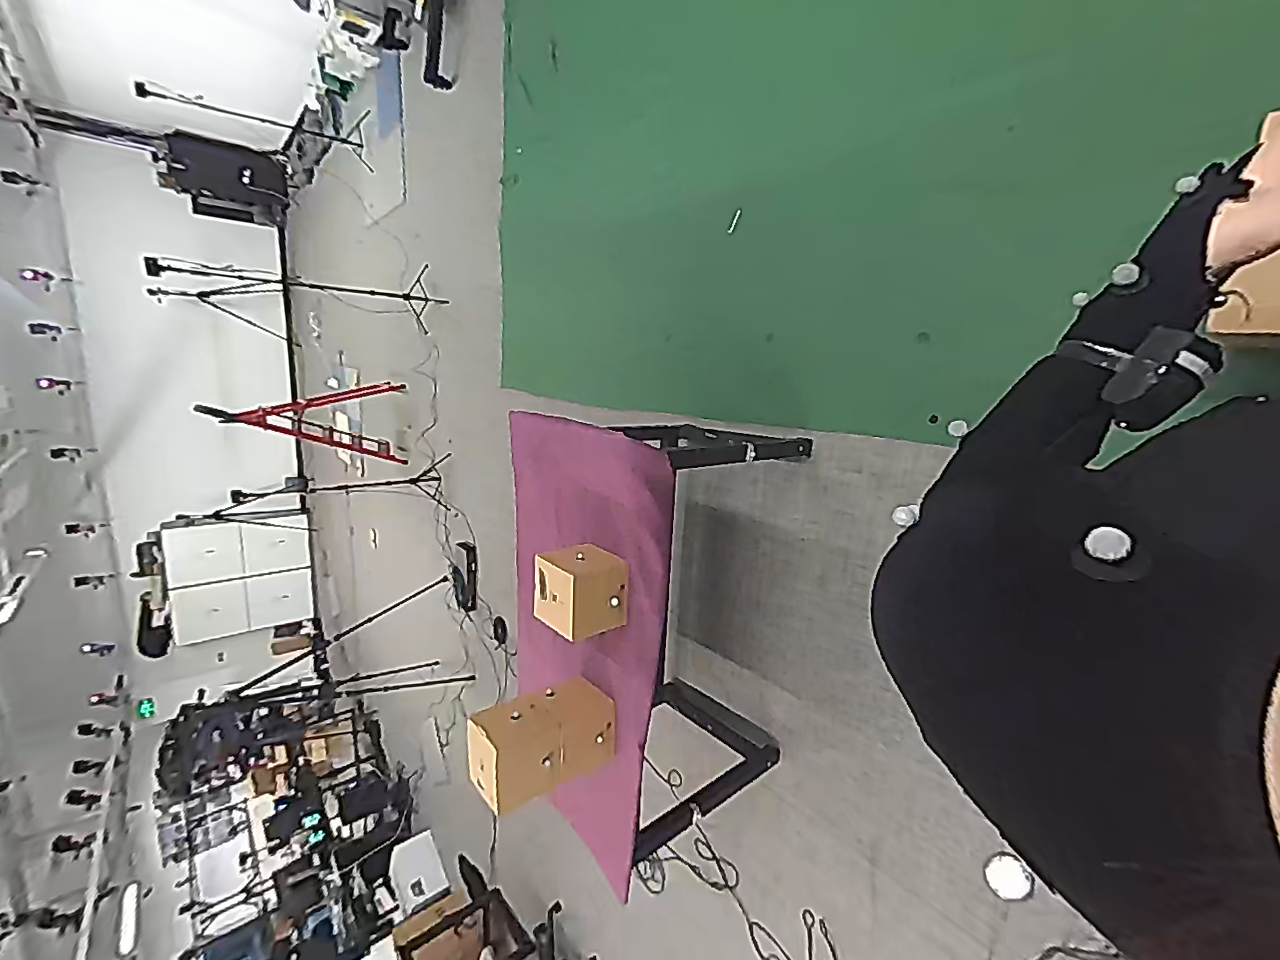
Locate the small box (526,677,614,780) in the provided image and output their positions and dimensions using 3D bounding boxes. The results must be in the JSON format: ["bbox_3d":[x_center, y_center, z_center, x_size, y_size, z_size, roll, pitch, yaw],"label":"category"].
[{"bbox_3d":[-0.189,0.646,1.437,0.179,0.176,0.168,14,106,50],"label":"small box"}]

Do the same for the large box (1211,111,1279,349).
[{"bbox_3d":[1.134,-0.355,0.763,0.408,0.320,0.320,17,109,47],"label":"large box"}]

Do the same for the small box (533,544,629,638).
[{"bbox_3d":[-0.148,0.265,1.340,0.179,0.176,0.168,16,107,48],"label":"small box"}]

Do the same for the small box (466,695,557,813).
[{"bbox_3d":[-0.314,0.662,1.333,0.168,0.176,0.179,14,105,50],"label":"small box"}]
